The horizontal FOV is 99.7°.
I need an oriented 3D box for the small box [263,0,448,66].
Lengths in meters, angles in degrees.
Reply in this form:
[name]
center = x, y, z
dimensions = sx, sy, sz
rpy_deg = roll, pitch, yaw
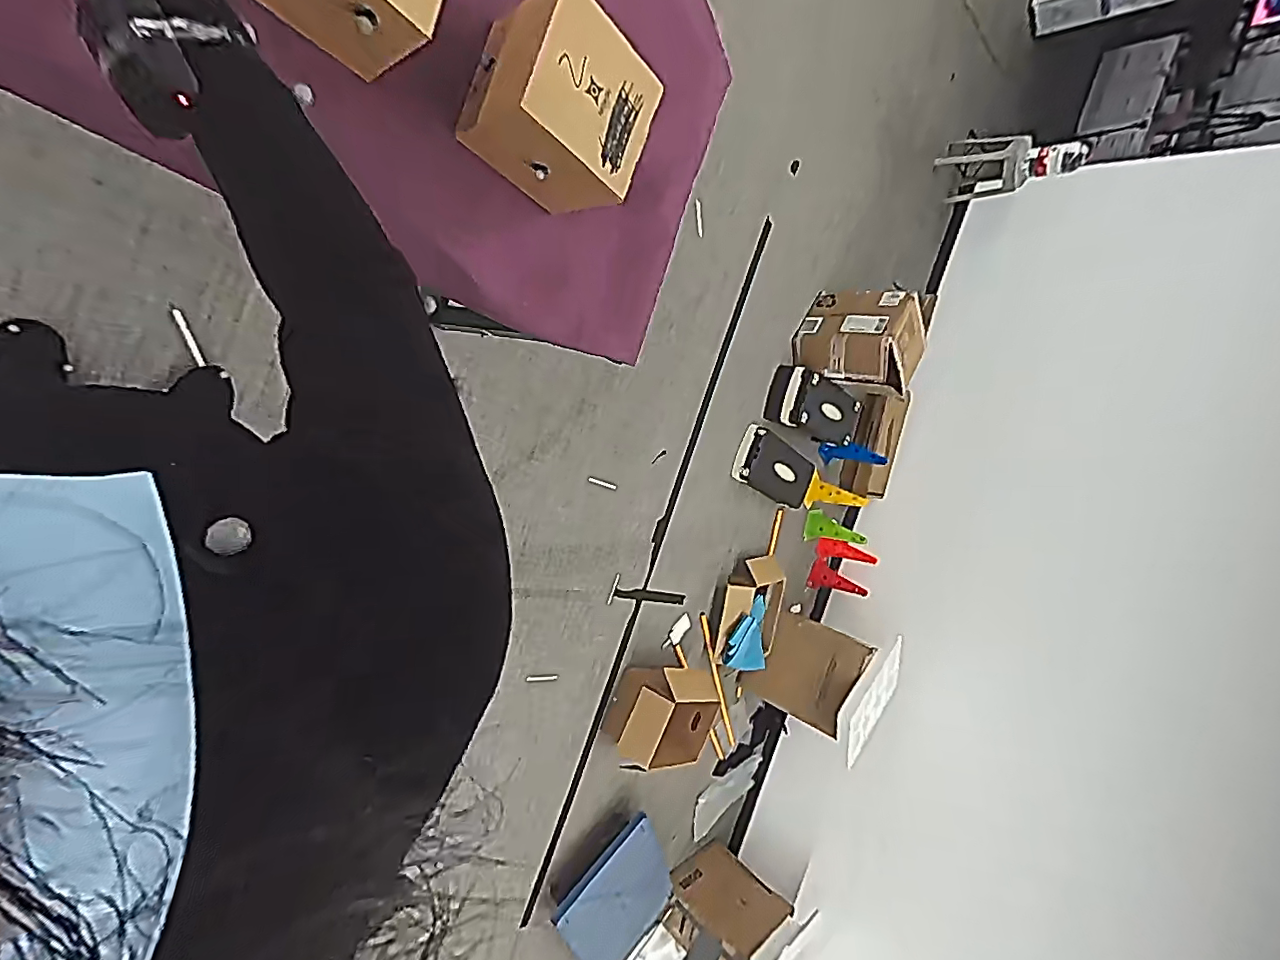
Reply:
[small box]
center = -0.286, -0.538, 0.511
dimensions = 0.179, 0.176, 0.168
rpy_deg = 17, 91, -49
